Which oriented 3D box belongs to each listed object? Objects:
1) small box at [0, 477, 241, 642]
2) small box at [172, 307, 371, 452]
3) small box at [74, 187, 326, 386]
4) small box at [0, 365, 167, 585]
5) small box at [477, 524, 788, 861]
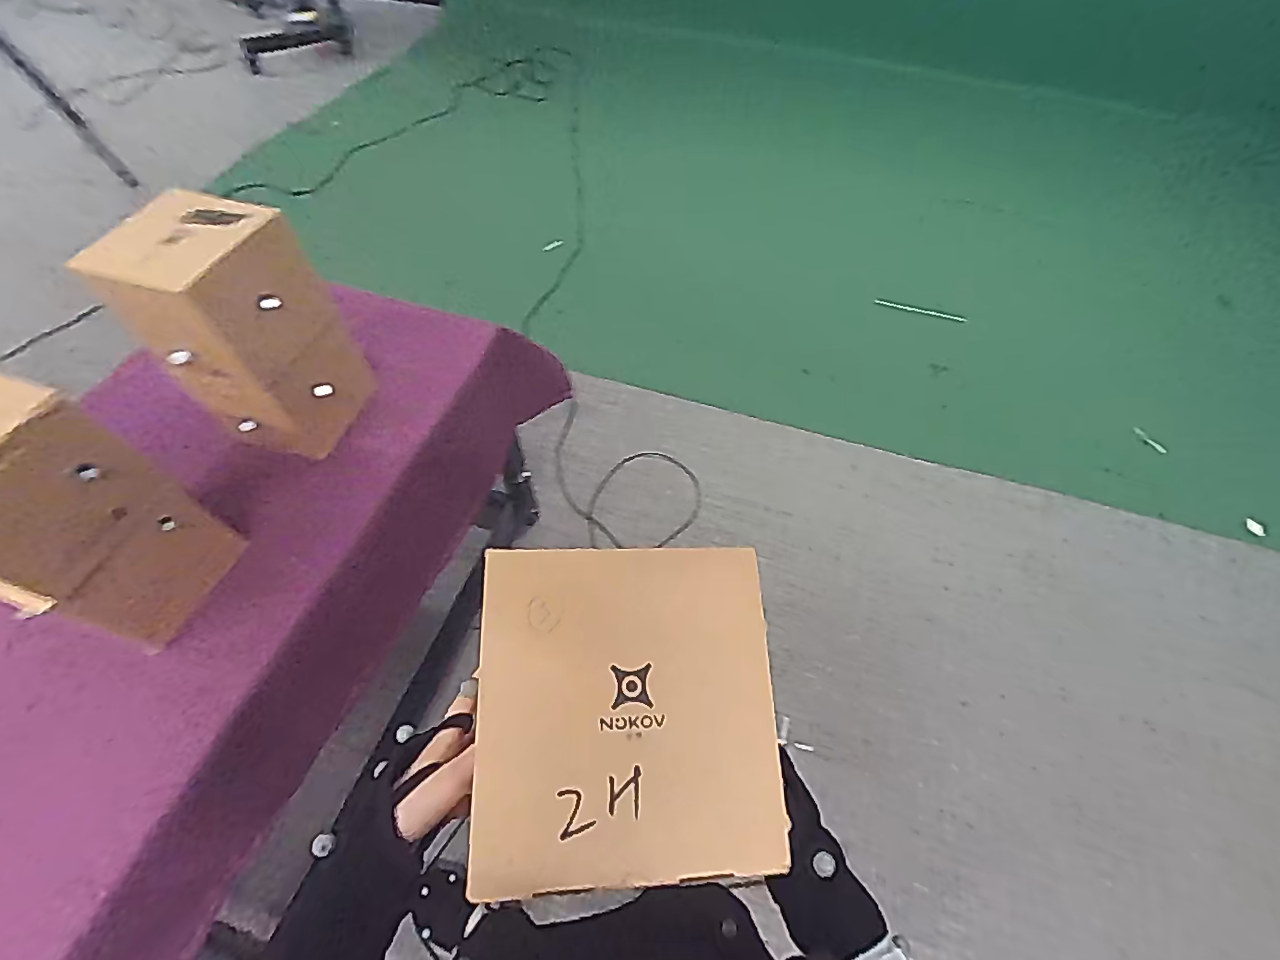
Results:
[{"bbox_3d":[-0.683,0.088,0.706,0.168,0.176,0.179,16,57,10],"label":"small box"},{"bbox_3d":[-0.574,-0.170,0.874,0.168,0.176,0.179,14,59,7],"label":"small box"},{"bbox_3d":[-0.568,-0.259,0.735,0.168,0.176,0.179,14,58,9],"label":"small box"},{"bbox_3d":[-0.678,-0.007,0.574,0.179,0.176,0.168,15,56,9],"label":"small box"},{"bbox_3d":[-0.012,0.139,0.381,0.168,0.176,0.179,2,70,-7],"label":"small box"}]
